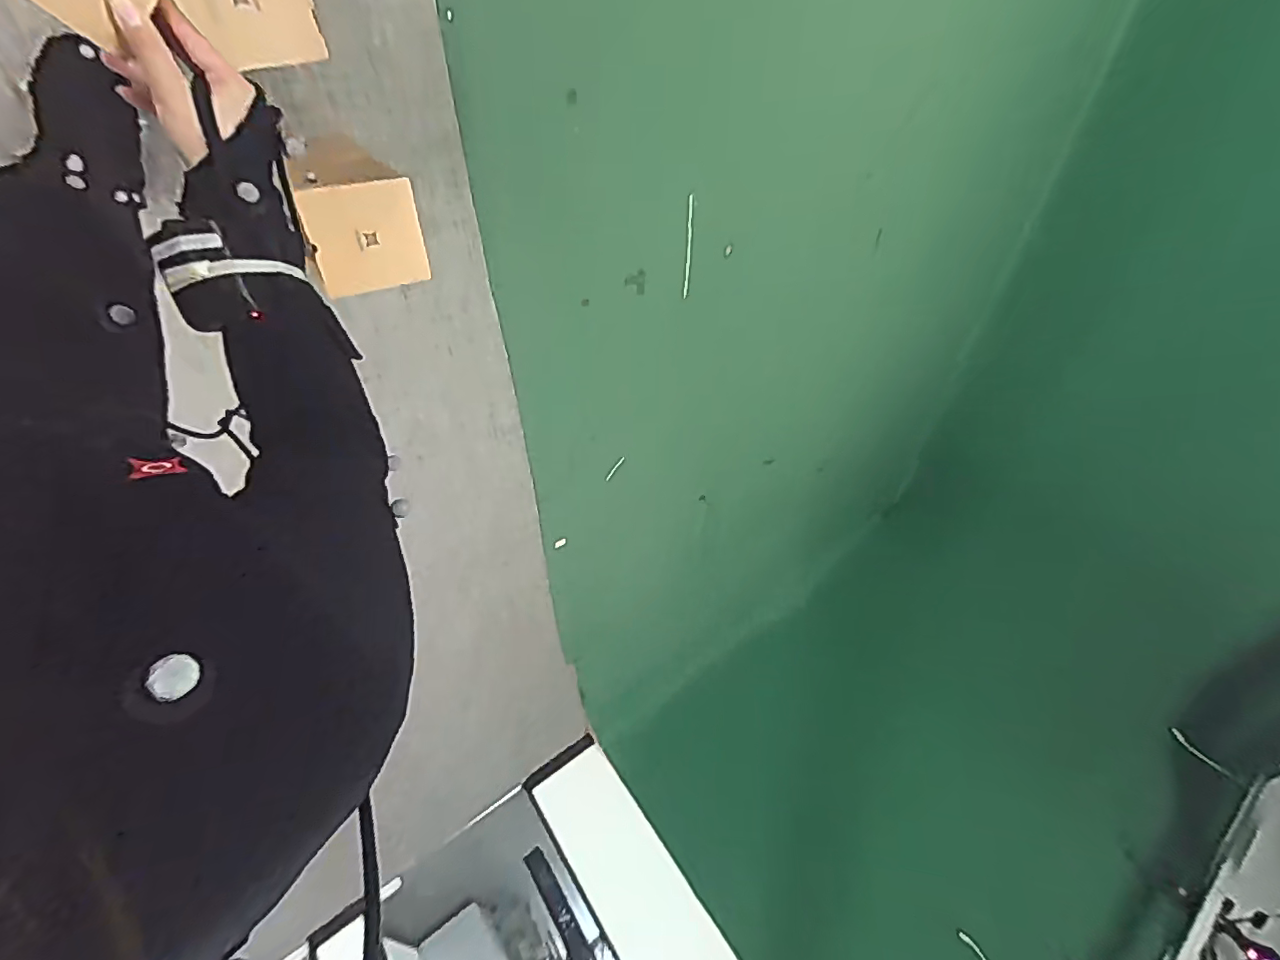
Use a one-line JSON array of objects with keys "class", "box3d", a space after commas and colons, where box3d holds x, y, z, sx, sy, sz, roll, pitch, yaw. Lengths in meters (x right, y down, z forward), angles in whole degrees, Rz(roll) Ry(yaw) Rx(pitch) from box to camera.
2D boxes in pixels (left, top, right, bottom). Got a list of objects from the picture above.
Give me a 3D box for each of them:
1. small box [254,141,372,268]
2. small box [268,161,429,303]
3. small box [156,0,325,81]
[{"class": "small box", "box3d": [-0.587, -0.517, 1.007, 0.179, 0.176, 0.168, -25, 140, -25]}, {"class": "small box", "box3d": [-0.488, -0.425, 0.914, 0.179, 0.176, 0.168, -26, 139, -27]}, {"class": "small box", "box3d": [-0.610, -0.713, 0.800, 0.179, 0.176, 0.168, -29, 139, -22]}]
